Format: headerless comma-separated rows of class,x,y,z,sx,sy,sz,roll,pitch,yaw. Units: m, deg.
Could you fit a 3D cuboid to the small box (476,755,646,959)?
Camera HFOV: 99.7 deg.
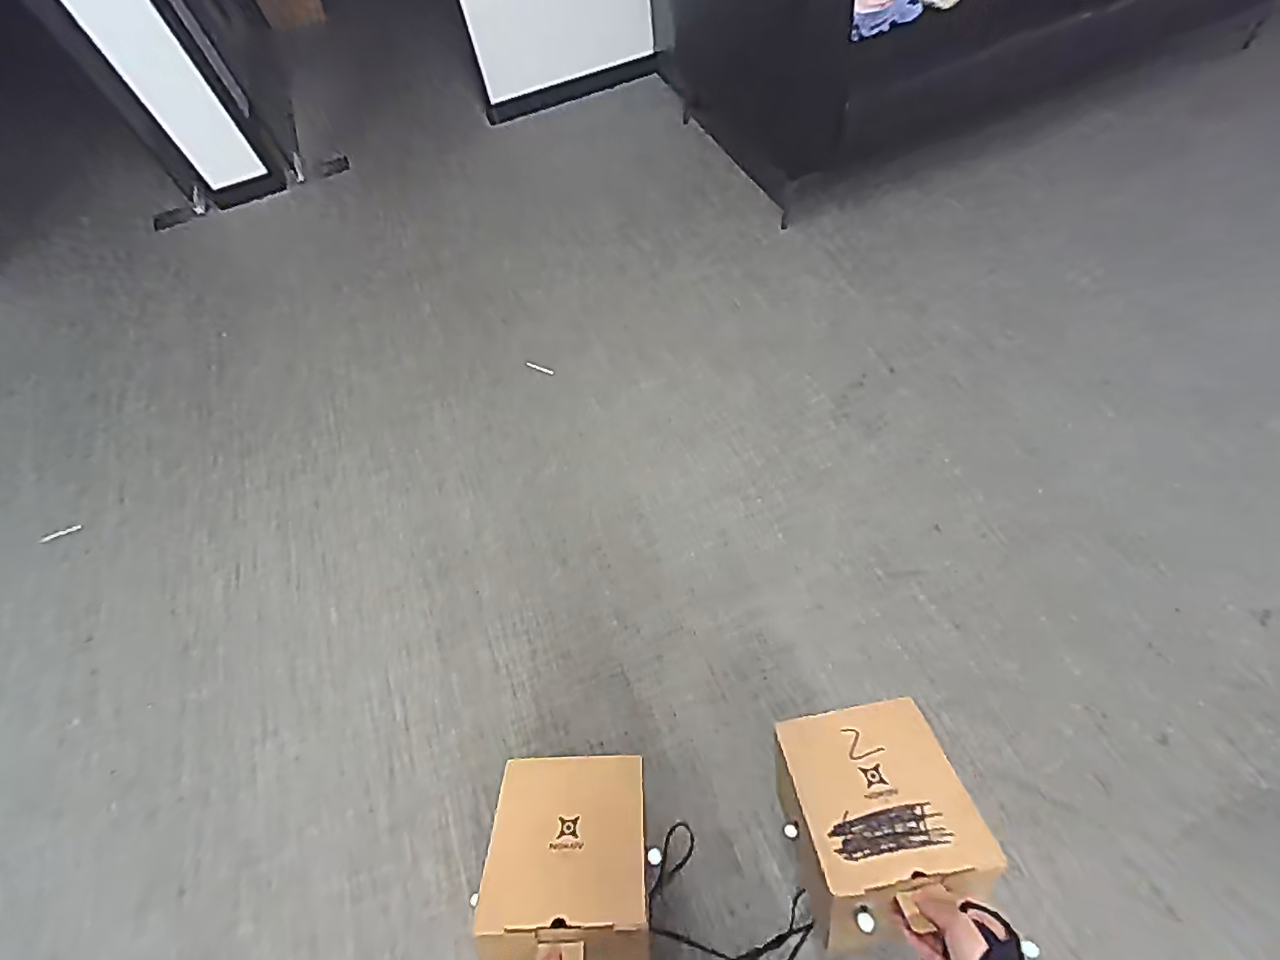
small box,-0.078,0.453,0.631,0.168,0.176,0.179,-1,30,0
